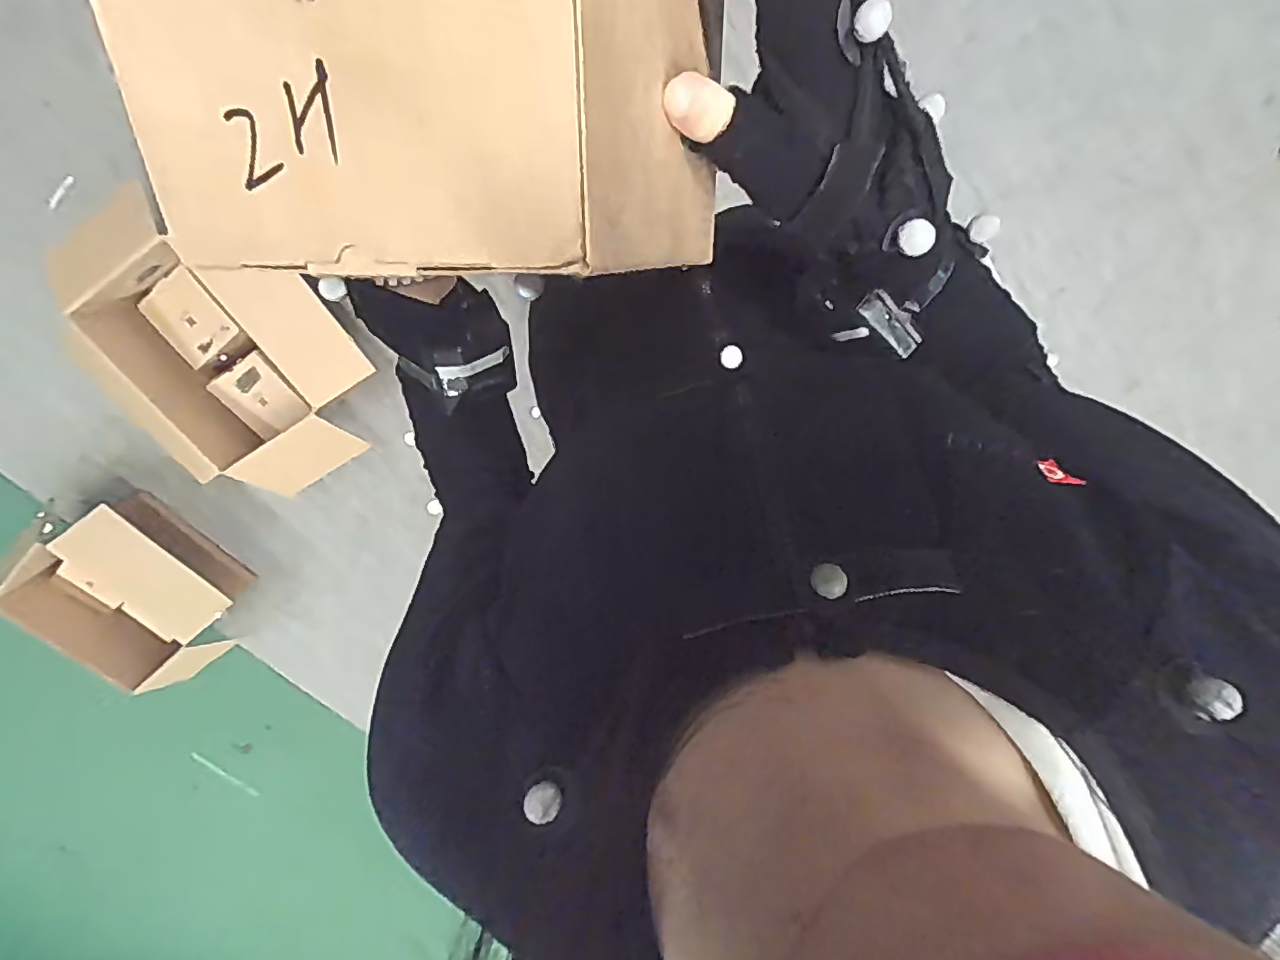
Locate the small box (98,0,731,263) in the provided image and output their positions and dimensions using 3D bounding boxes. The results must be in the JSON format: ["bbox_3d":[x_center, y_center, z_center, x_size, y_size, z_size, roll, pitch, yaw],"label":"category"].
[{"bbox_3d":[-0.062,-0.180,0.209,0.168,0.176,0.179,8,115,17],"label":"small box"}]
